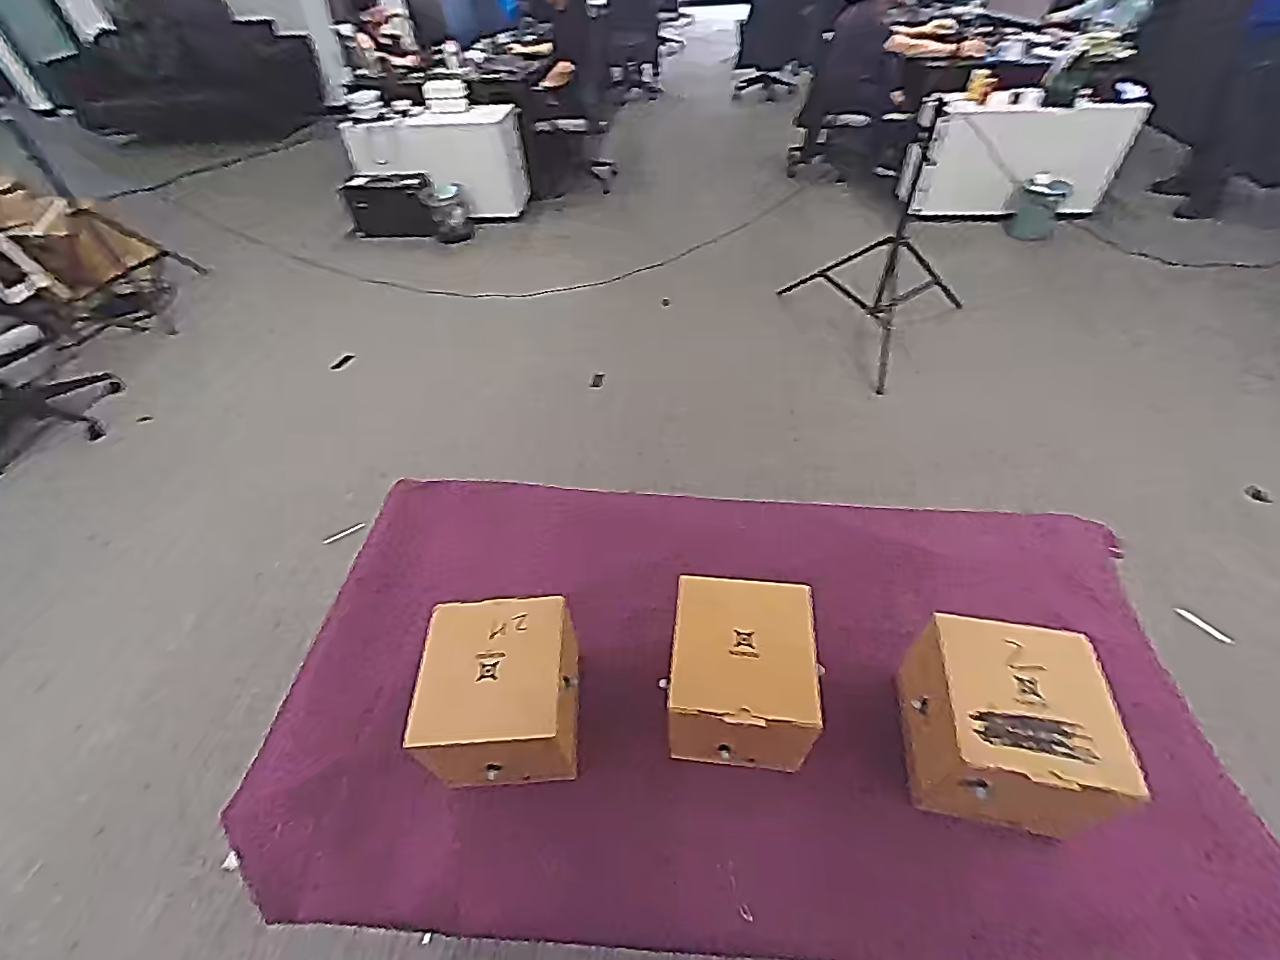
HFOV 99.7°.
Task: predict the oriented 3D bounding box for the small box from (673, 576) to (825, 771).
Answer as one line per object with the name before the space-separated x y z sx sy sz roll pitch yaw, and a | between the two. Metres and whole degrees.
small box | 0.131 0.248 0.696 0.168 0.176 0.179 4 48 7

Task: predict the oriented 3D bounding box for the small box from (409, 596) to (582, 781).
small box | -0.166 0.271 0.690 0.168 0.176 0.179 -3 47 0
